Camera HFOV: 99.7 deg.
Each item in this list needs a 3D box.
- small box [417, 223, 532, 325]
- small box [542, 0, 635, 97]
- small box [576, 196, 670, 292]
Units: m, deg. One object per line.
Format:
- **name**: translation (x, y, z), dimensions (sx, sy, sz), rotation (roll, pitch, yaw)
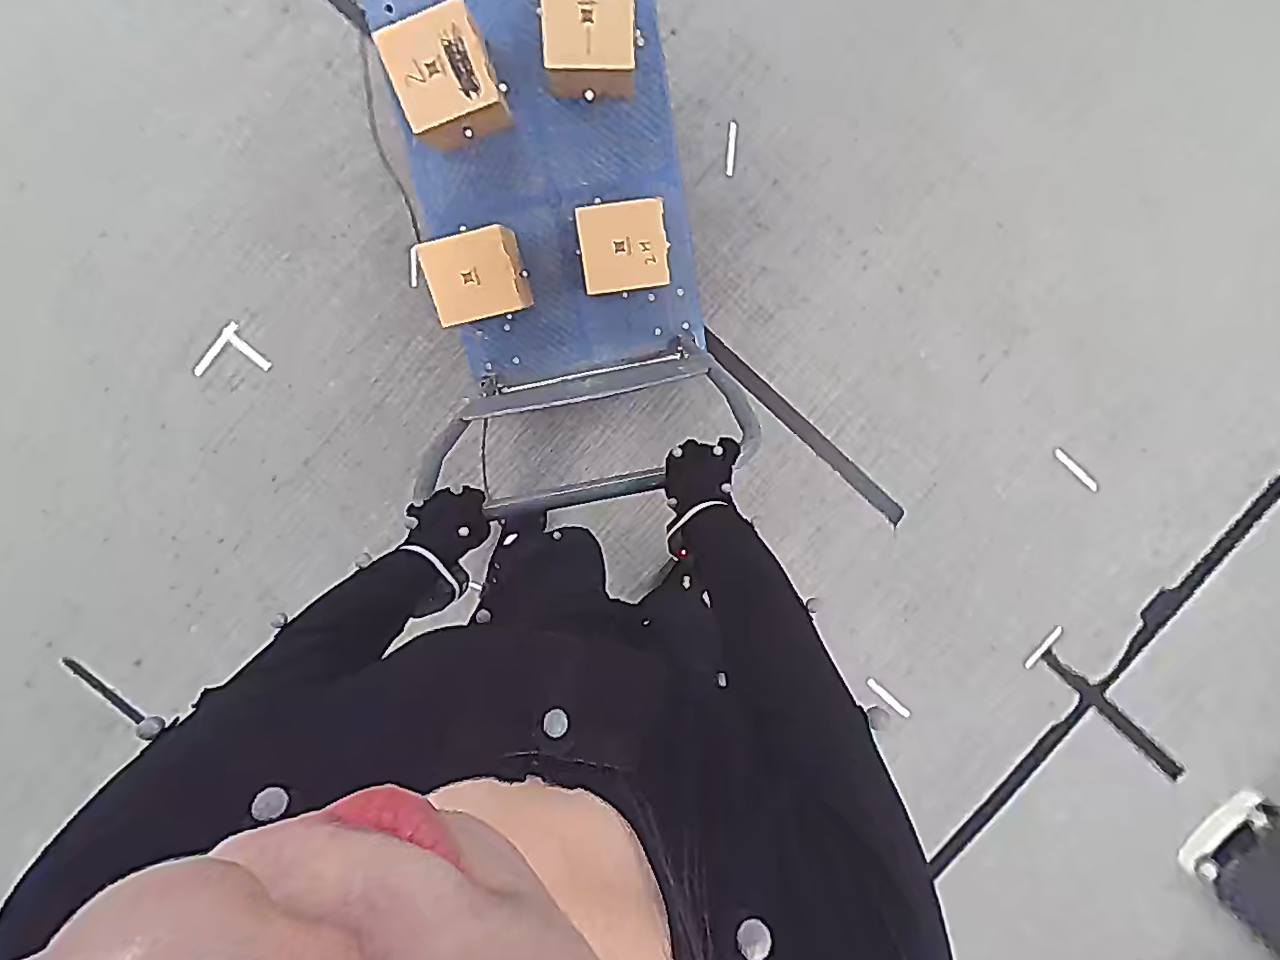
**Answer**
- **small box**: translation (-0.347, -0.438, 1.168), dimensions (0.179, 0.176, 0.168), rotation (-14, 110, 1)
- **small box**: translation (-0.096, -0.860, 1.028), dimensions (0.168, 0.176, 0.179), rotation (-1, 111, -2)
- **small box**: translation (-0.035, -0.499, 1.161), dimensions (0.179, 0.176, 0.168), rotation (-7, 111, 0)
